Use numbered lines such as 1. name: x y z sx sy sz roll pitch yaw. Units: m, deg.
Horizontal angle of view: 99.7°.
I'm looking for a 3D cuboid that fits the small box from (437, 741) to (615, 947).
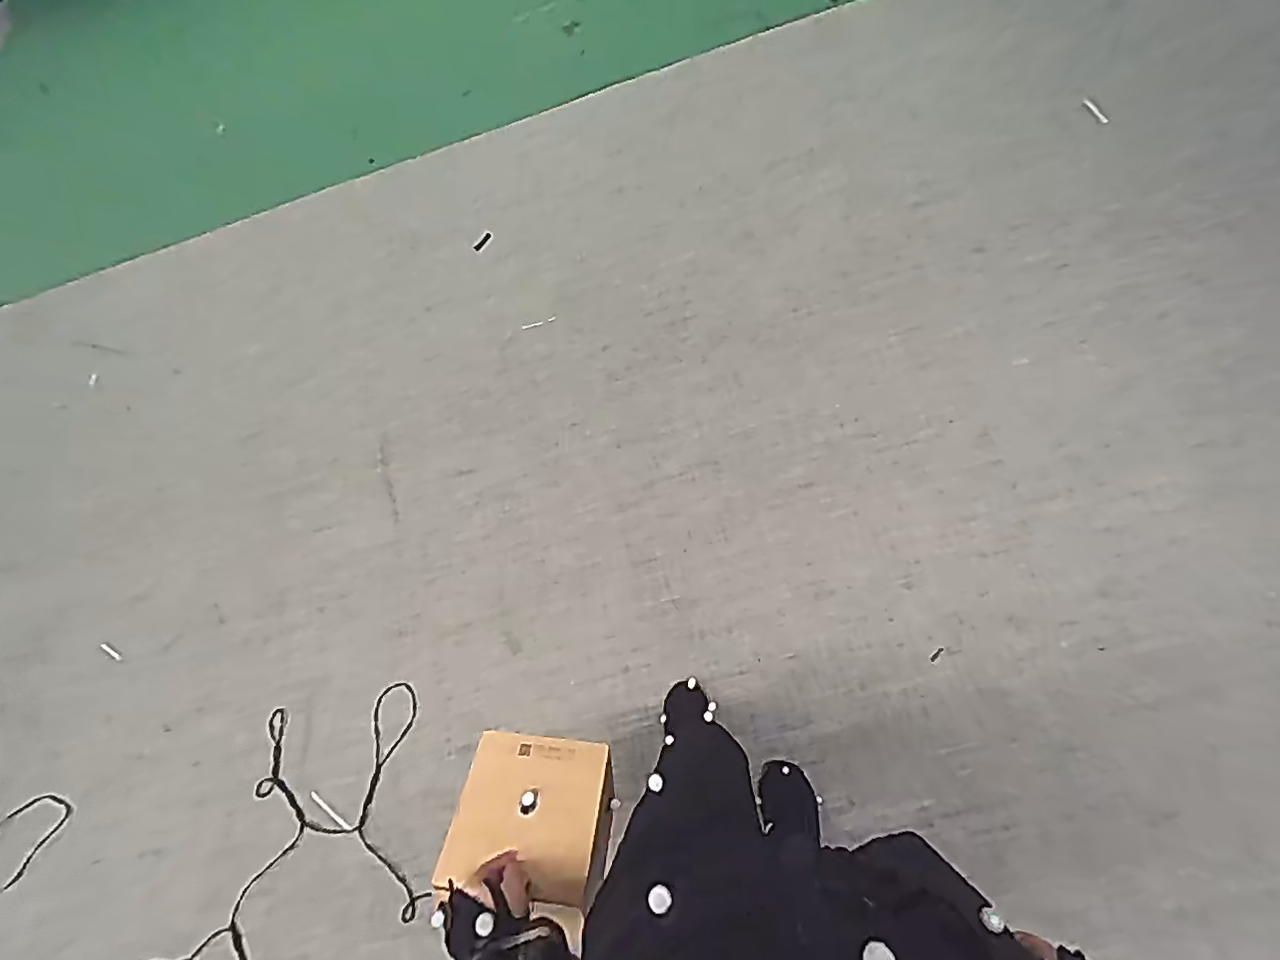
1. small box: -0.125 0.447 0.674 0.168 0.179 0.176 3 40 6
